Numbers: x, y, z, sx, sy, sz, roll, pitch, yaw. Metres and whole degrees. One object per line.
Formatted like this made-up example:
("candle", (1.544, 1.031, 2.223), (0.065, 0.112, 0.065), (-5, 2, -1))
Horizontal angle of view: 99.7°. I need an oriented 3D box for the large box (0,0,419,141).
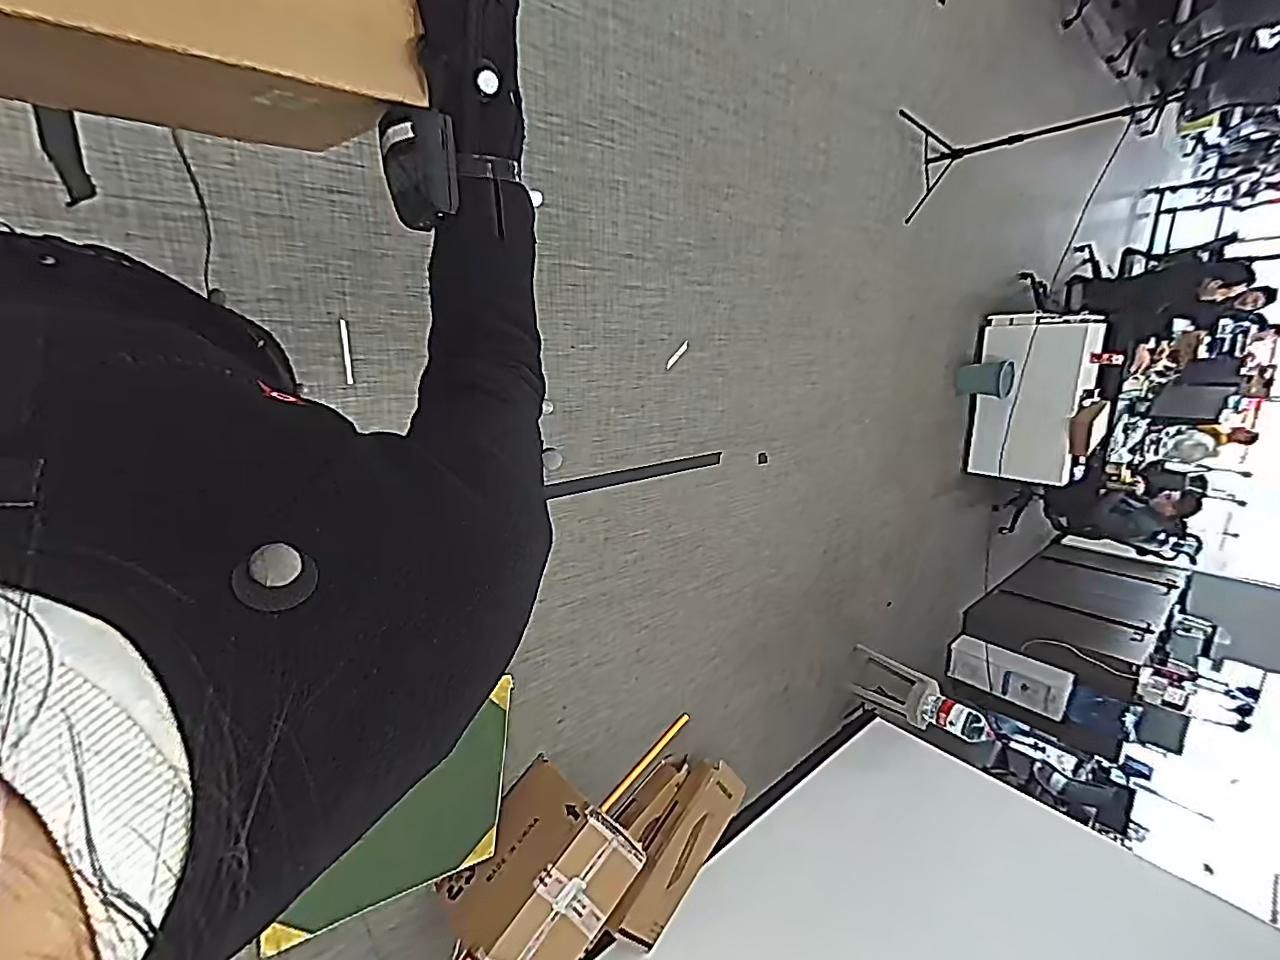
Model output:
("large box", (-0.384, -0.401, 0.282), (0.408, 0.320, 0.320), (-15, 120, -39))
